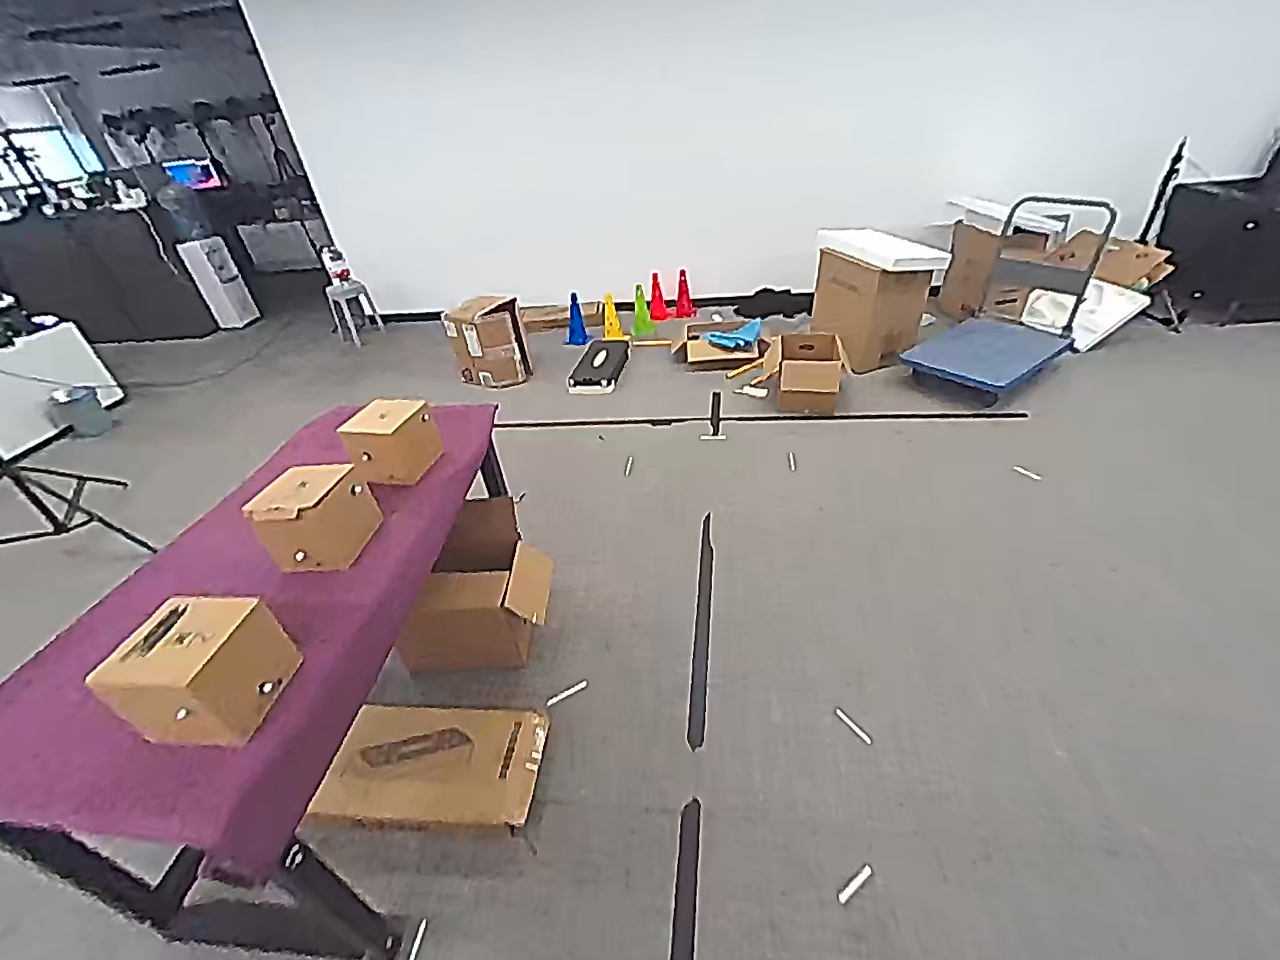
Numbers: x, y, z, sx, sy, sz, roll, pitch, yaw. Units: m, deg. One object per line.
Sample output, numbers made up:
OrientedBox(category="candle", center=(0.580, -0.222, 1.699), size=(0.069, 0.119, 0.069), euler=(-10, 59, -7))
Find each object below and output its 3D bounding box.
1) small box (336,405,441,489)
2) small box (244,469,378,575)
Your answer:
OrientedBox(category="small box", center=(-0.670, -0.090, 1.467), size=(0.168, 0.176, 0.179), euler=(3, 36, 13))
OrientedBox(category="small box", center=(-0.720, 0.094, 1.212), size=(0.168, 0.176, 0.179), euler=(-4, 35, 8))
